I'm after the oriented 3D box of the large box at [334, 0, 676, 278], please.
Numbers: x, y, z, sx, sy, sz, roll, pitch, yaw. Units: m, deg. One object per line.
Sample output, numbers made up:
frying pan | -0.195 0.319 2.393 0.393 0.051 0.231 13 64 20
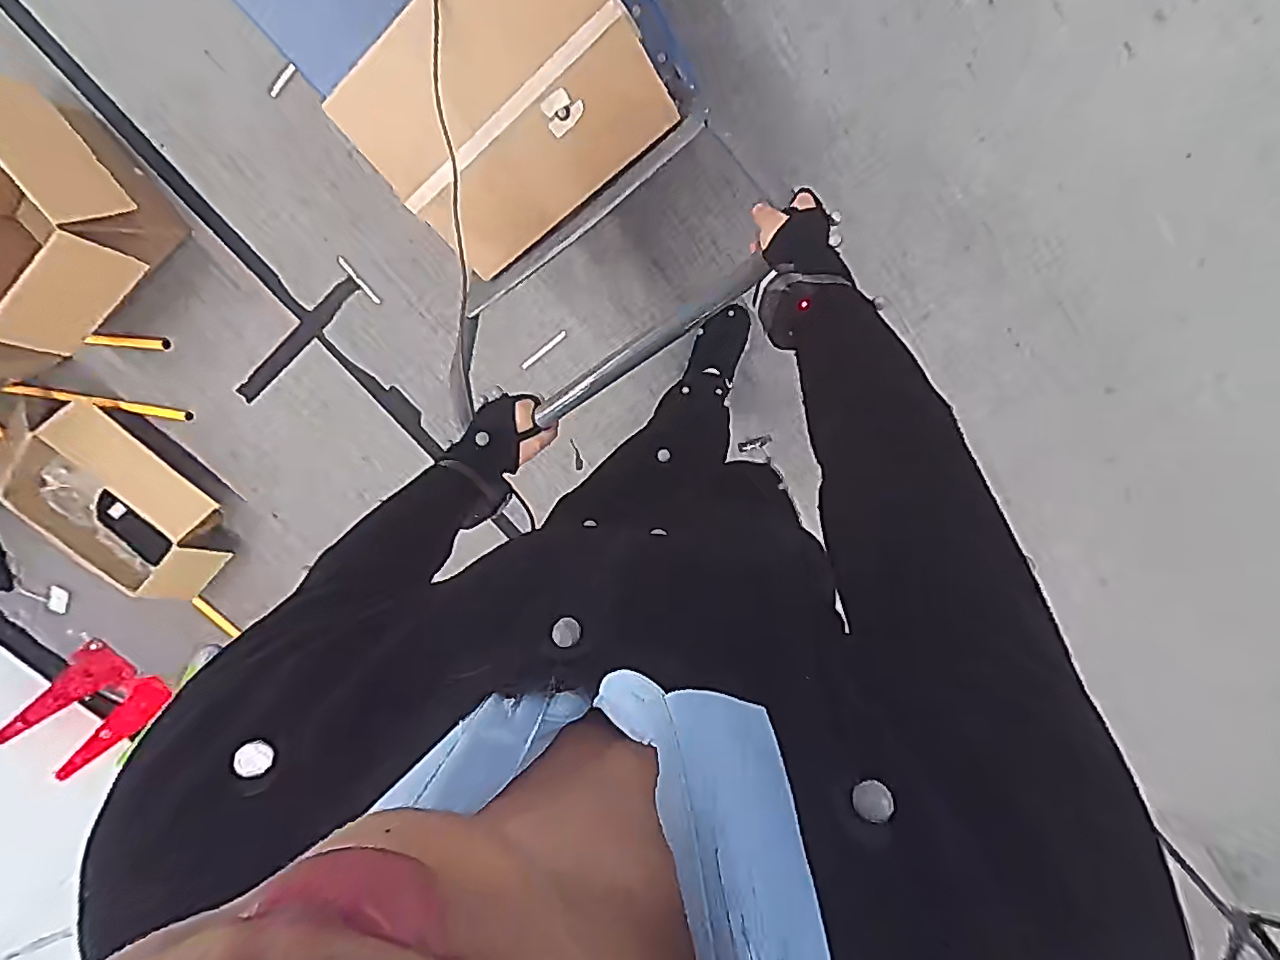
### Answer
large box | -0.206 -0.626 0.893 0.408 0.320 0.320 -33 128 19
